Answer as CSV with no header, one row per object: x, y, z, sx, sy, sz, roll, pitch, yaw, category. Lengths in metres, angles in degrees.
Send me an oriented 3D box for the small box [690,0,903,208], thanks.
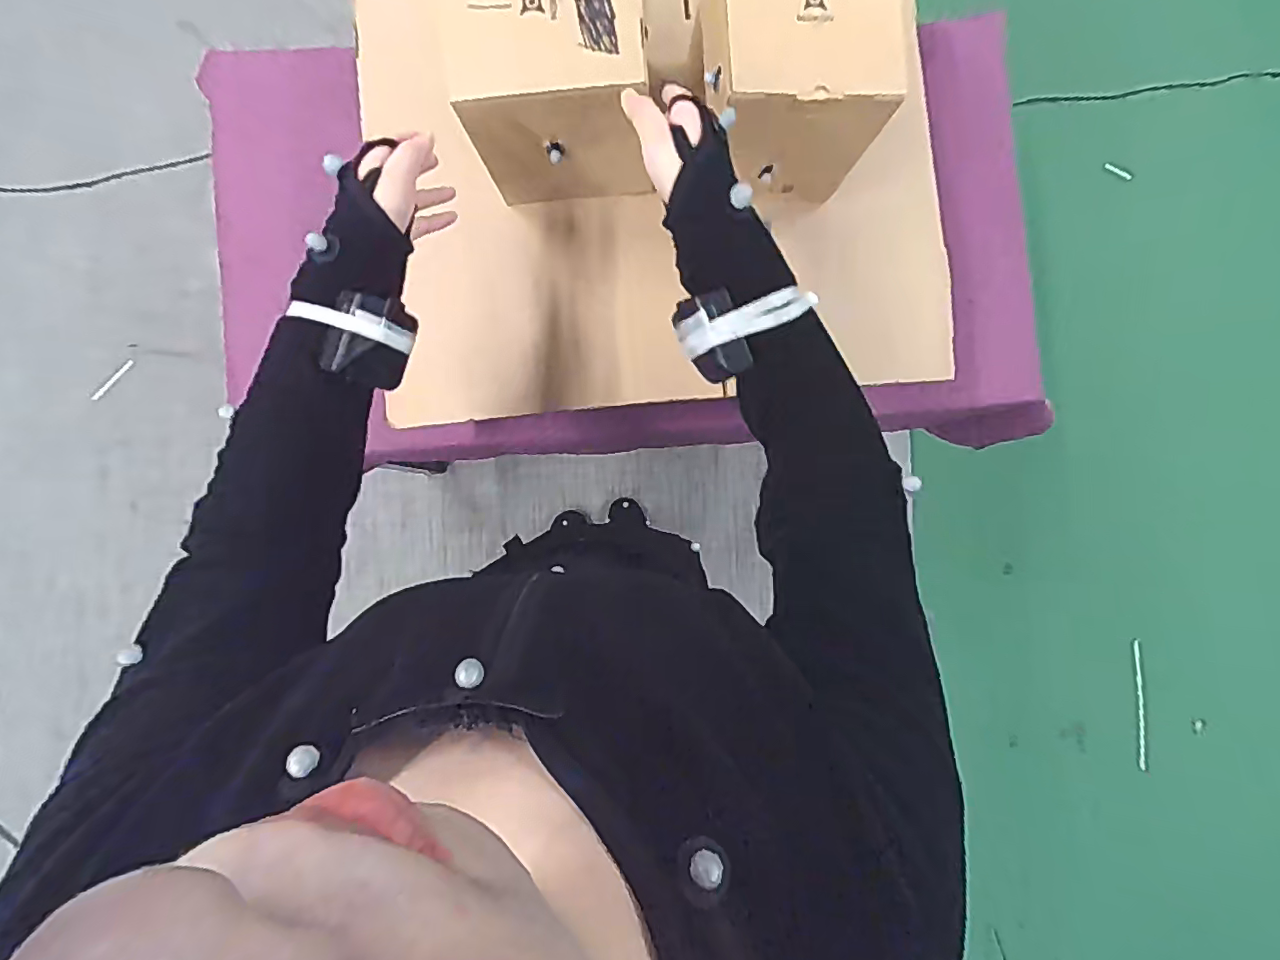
0.150,-0.419,0.574,0.168,0.176,0.179,-3,89,-5,small box
